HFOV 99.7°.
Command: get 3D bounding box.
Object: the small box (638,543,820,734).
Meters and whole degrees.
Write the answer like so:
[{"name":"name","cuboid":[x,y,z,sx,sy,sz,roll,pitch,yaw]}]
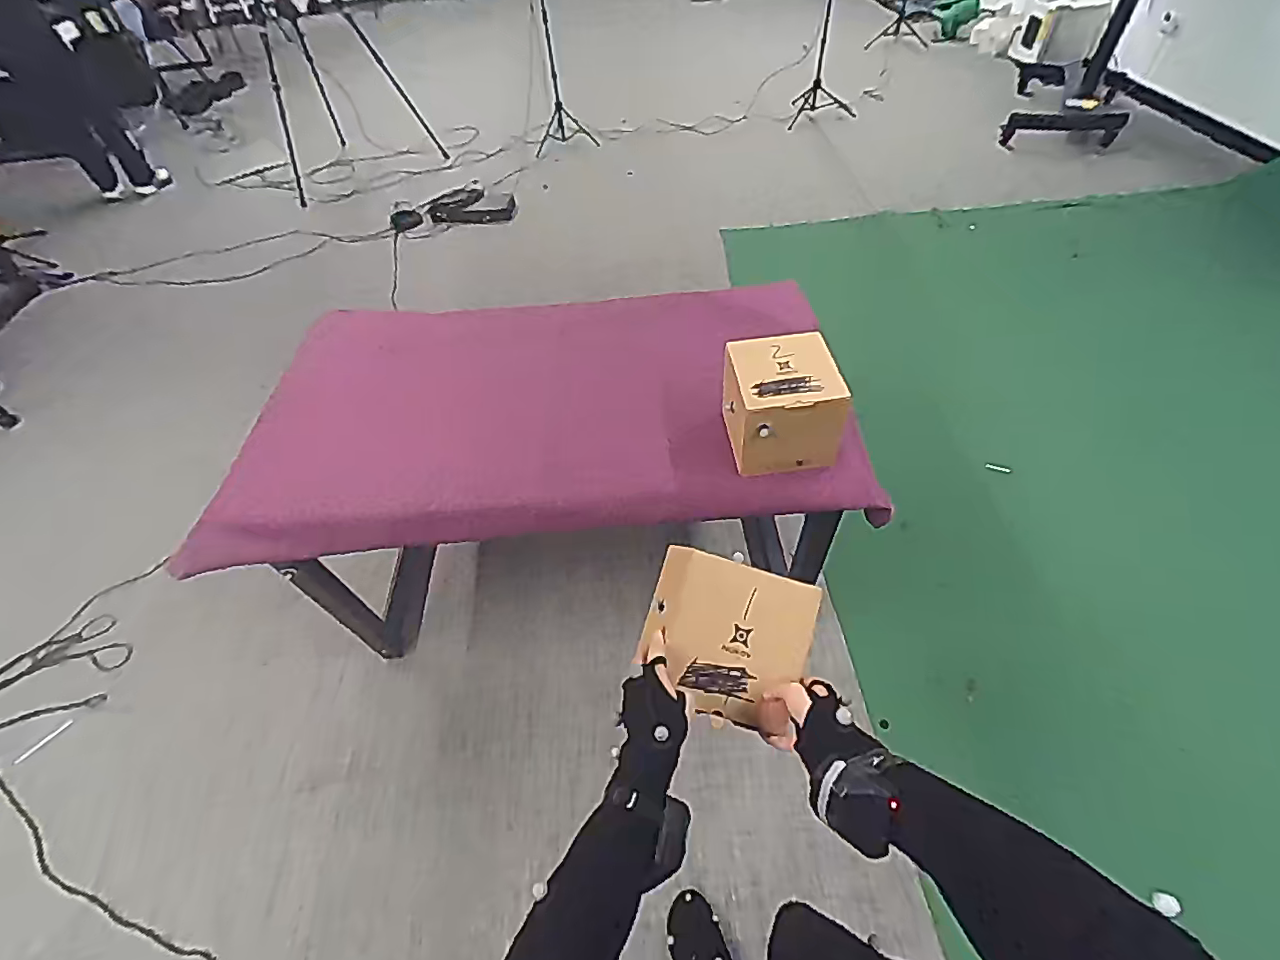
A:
[{"name":"small box","cuboid":[0.100,0.187,0.689,0.168,0.176,0.179,18,82,-4]}]
